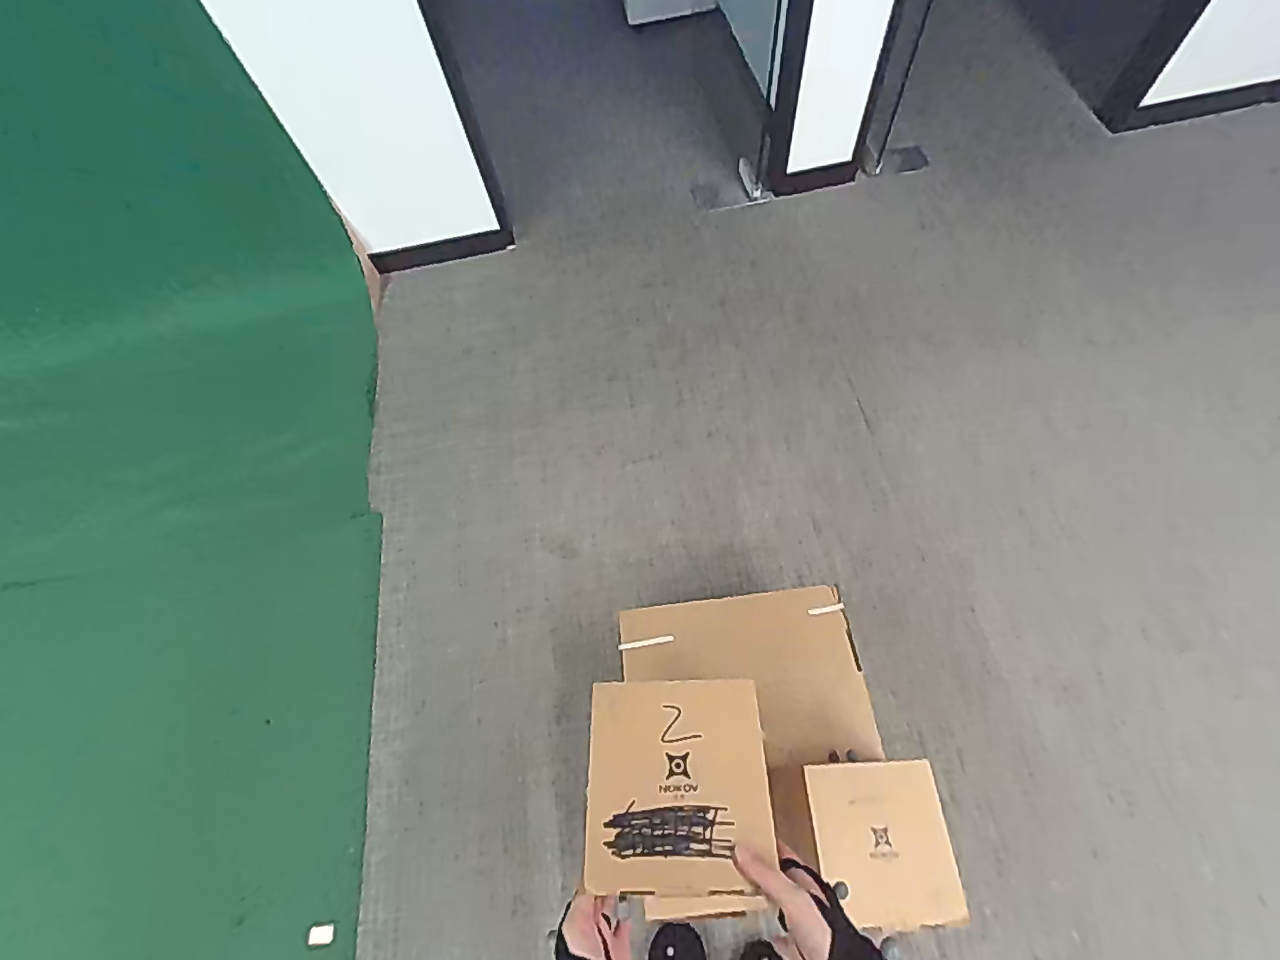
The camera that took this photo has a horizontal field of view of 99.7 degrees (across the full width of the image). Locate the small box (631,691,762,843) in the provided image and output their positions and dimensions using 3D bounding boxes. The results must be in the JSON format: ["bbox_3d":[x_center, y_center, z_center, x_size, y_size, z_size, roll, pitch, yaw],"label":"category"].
[{"bbox_3d":[0.078,0.418,0.791,0.168,0.176,0.179,-6,61,5],"label":"small box"}]

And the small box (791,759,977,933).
[{"bbox_3d":[0.311,0.480,0.732,0.168,0.176,0.179,-4,62,2],"label":"small box"}]
